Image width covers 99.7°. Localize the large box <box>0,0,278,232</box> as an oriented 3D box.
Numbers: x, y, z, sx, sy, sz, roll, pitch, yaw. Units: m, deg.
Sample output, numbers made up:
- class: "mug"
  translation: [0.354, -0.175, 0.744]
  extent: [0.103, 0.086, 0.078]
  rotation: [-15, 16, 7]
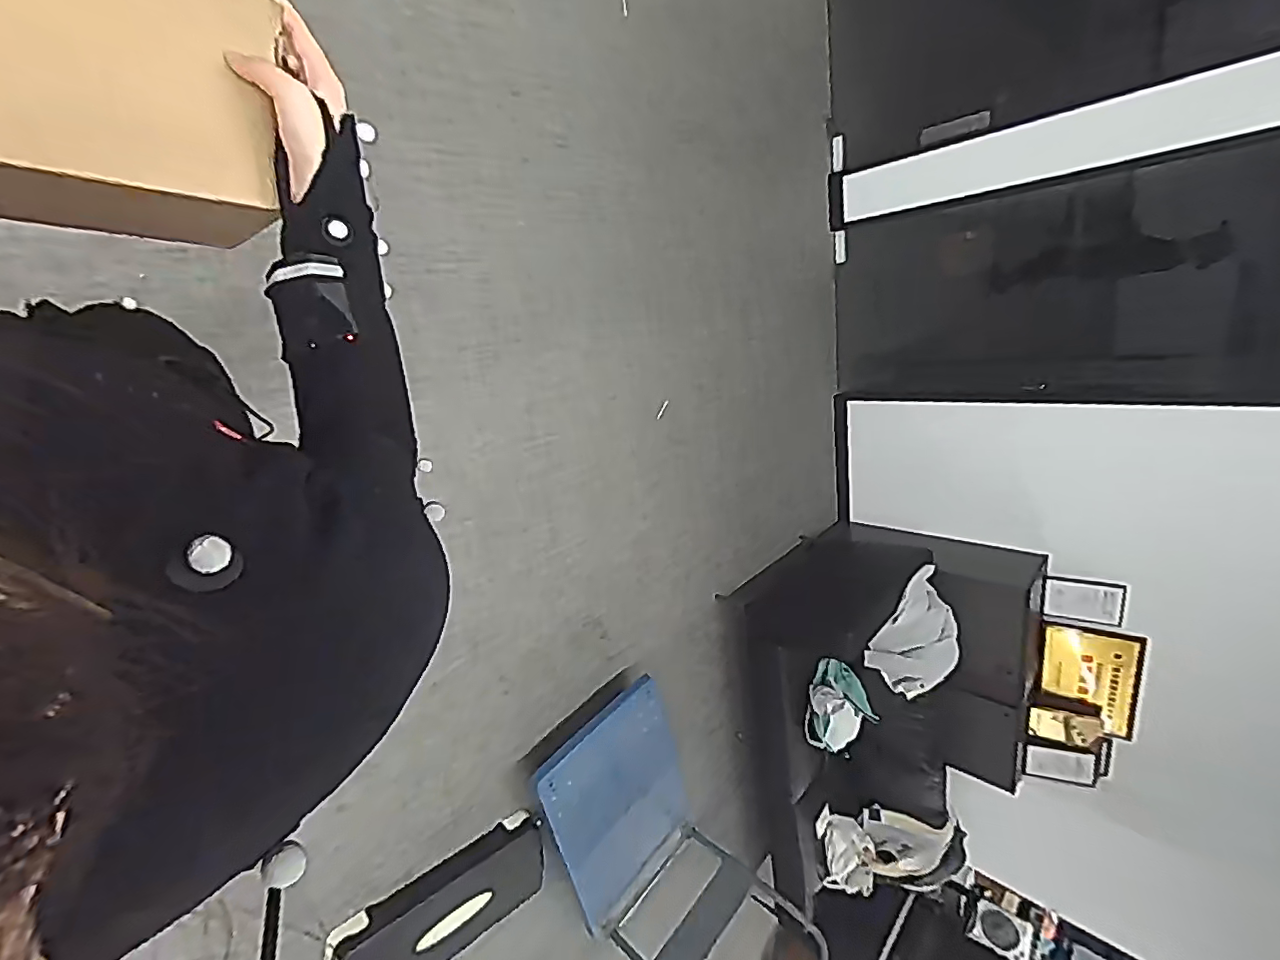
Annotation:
- class: "large box"
  translation: [-0.533, -0.378, 0.381]
  extent: [0.408, 0.320, 0.320]
  rotation: [-10, 109, -40]
